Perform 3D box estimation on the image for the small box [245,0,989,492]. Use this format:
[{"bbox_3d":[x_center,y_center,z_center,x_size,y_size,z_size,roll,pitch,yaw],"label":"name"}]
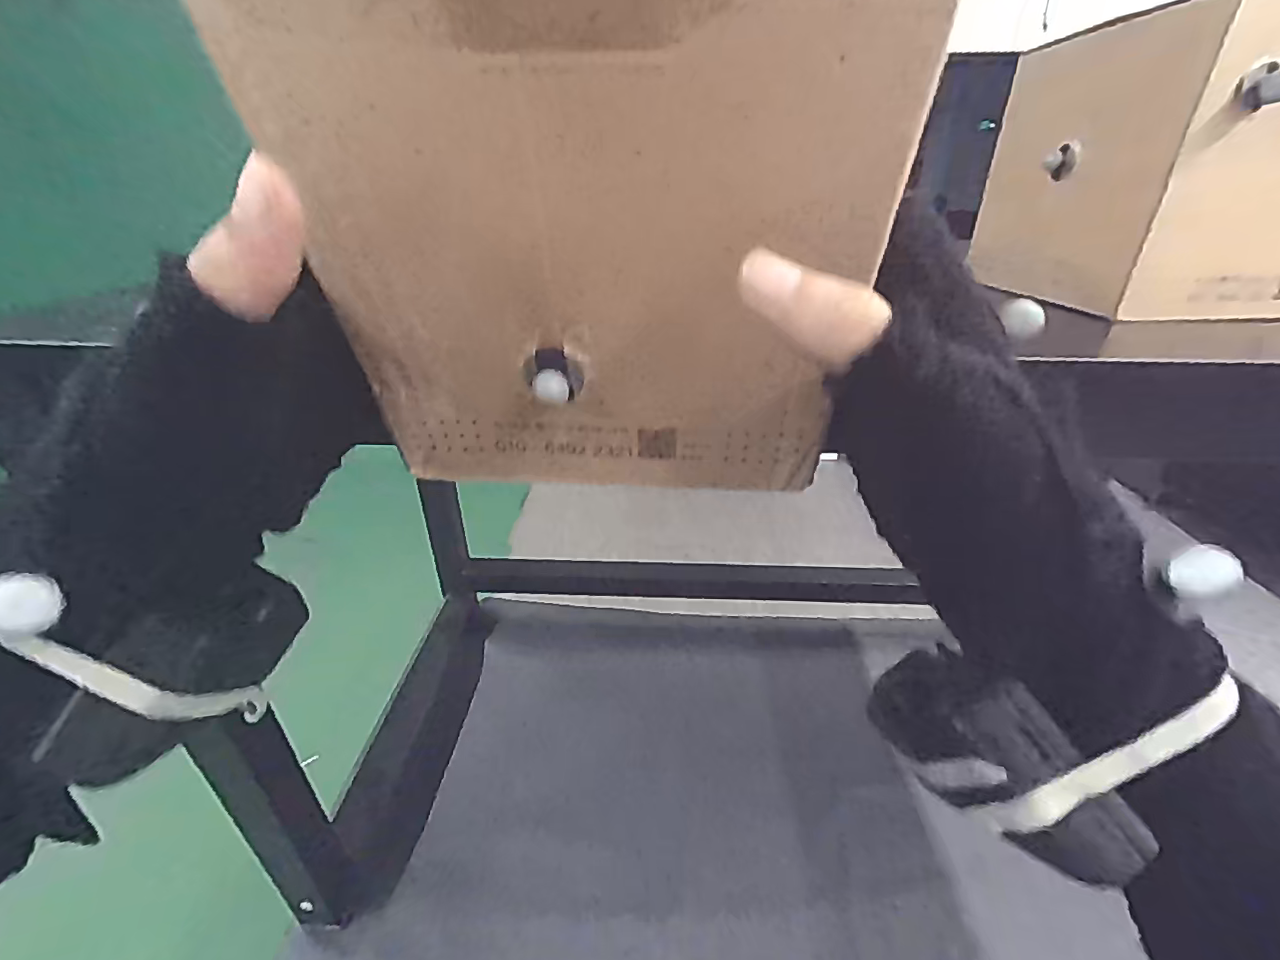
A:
[{"bbox_3d":[-0.004,-0.118,0.219,0.168,0.176,0.179,2,49,3],"label":"small box"}]
